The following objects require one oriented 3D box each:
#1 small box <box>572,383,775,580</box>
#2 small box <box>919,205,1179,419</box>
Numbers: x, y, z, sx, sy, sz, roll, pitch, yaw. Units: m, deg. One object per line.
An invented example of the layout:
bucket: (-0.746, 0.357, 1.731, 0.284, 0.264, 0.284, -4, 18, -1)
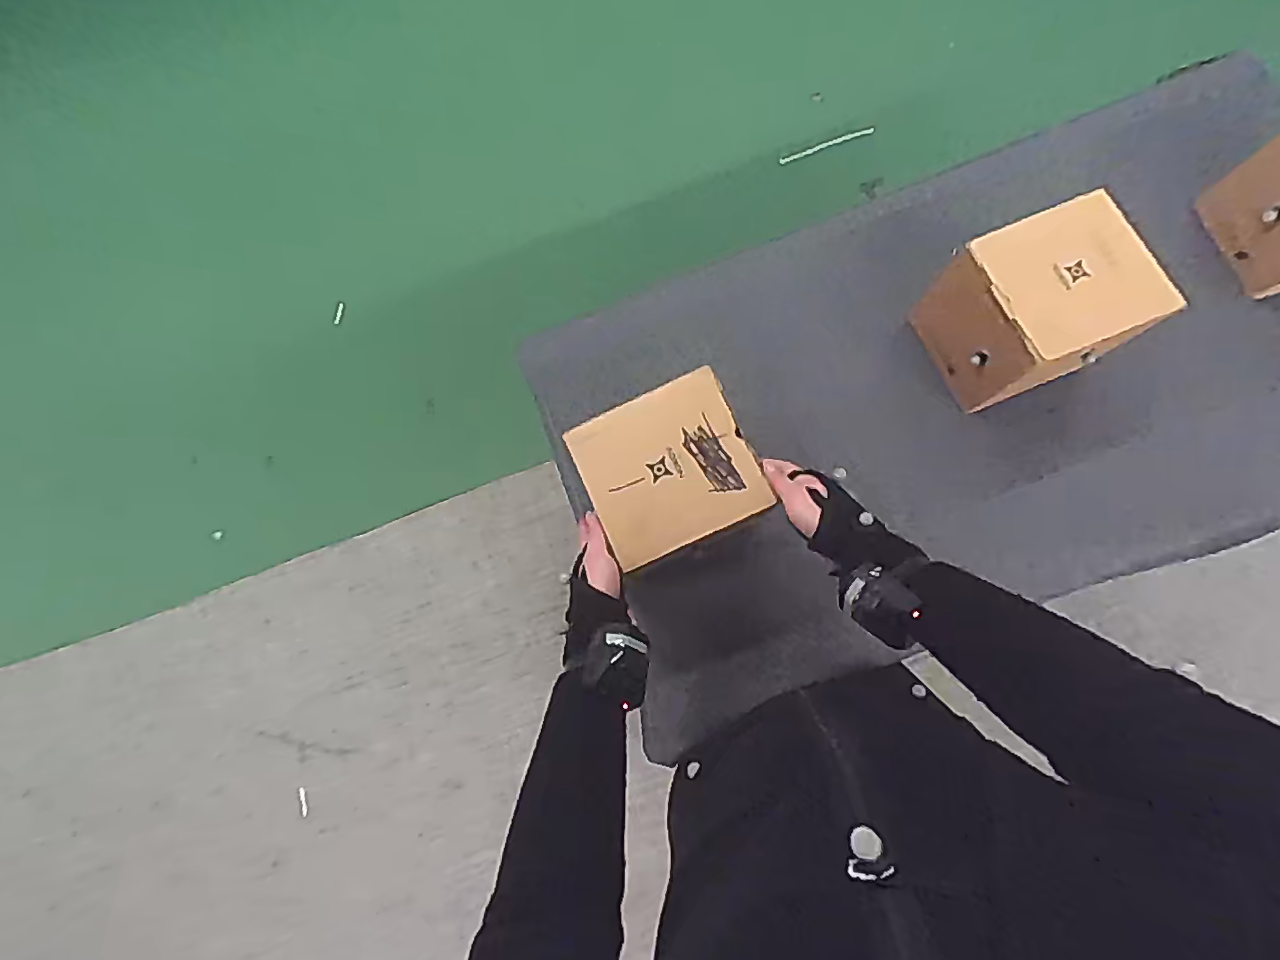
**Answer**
small box: (0.039, 0.013, 0.658, 0.179, 0.176, 0.168, -24, 77, 0)
small box: (0.489, -0.198, 0.685, 0.179, 0.176, 0.168, -22, 77, -3)
